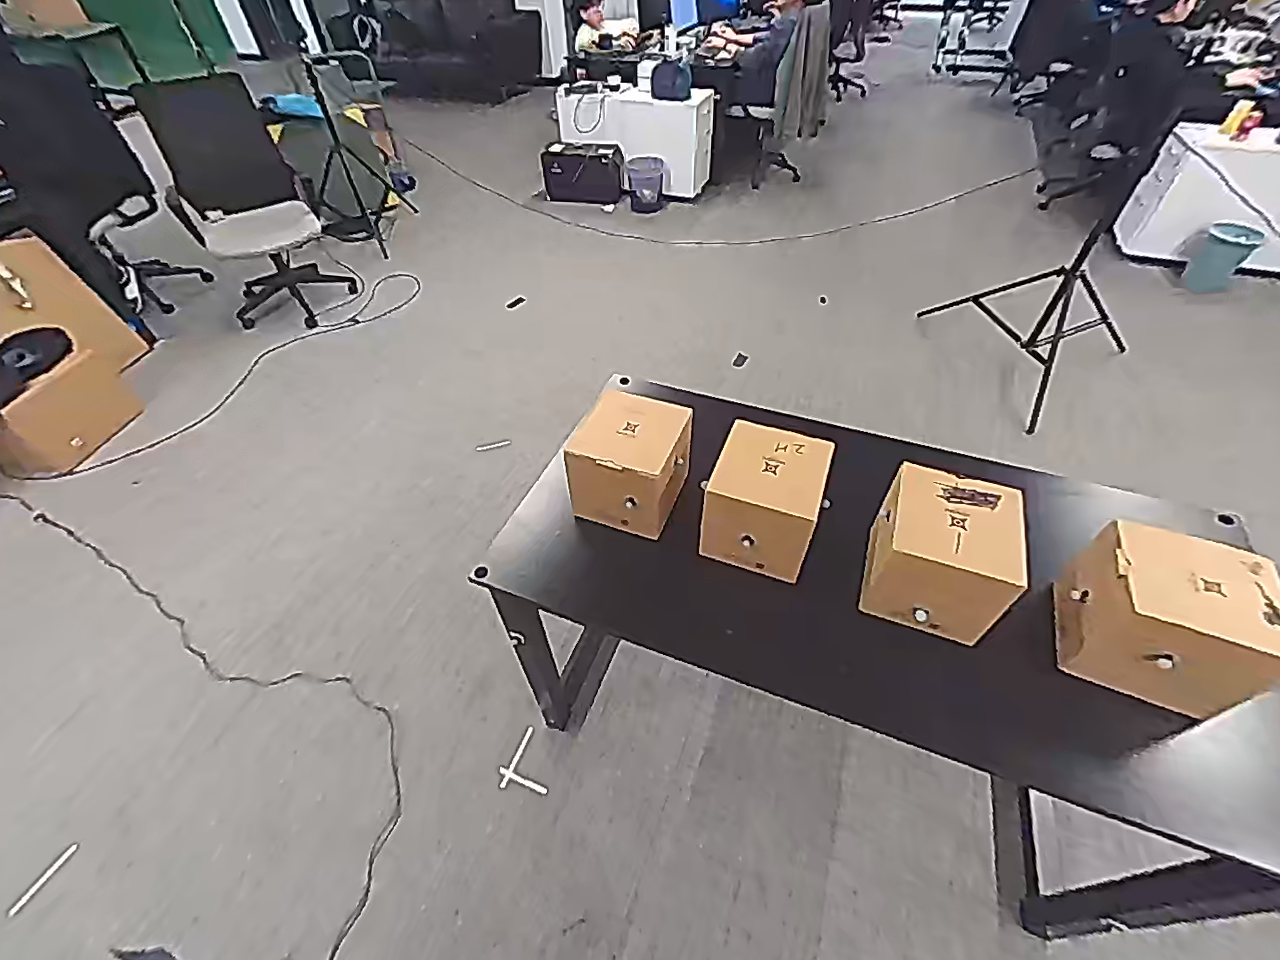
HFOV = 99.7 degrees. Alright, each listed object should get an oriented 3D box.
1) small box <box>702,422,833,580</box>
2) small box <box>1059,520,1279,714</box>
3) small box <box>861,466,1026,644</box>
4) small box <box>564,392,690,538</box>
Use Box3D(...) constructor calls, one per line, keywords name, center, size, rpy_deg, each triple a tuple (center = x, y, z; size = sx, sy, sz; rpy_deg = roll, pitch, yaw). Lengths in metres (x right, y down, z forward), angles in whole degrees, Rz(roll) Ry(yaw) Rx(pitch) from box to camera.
Box3D(name="small box", center=(0.205, 0.037, 0.894), size=(0.168, 0.176, 0.179), rpy_deg=(16, 49, 16))
Box3D(name="small box", center=(0.705, 0.188, 0.737), size=(0.179, 0.176, 0.168), rpy_deg=(17, 50, 19))
Box3D(name="small box", center=(0.446, 0.112, 0.816), size=(0.168, 0.176, 0.179), rpy_deg=(16, 50, 16))
Box3D(name="small box", center=(-0.017, -0.025, 0.962), size=(0.168, 0.176, 0.179), rpy_deg=(16, 48, 14))
